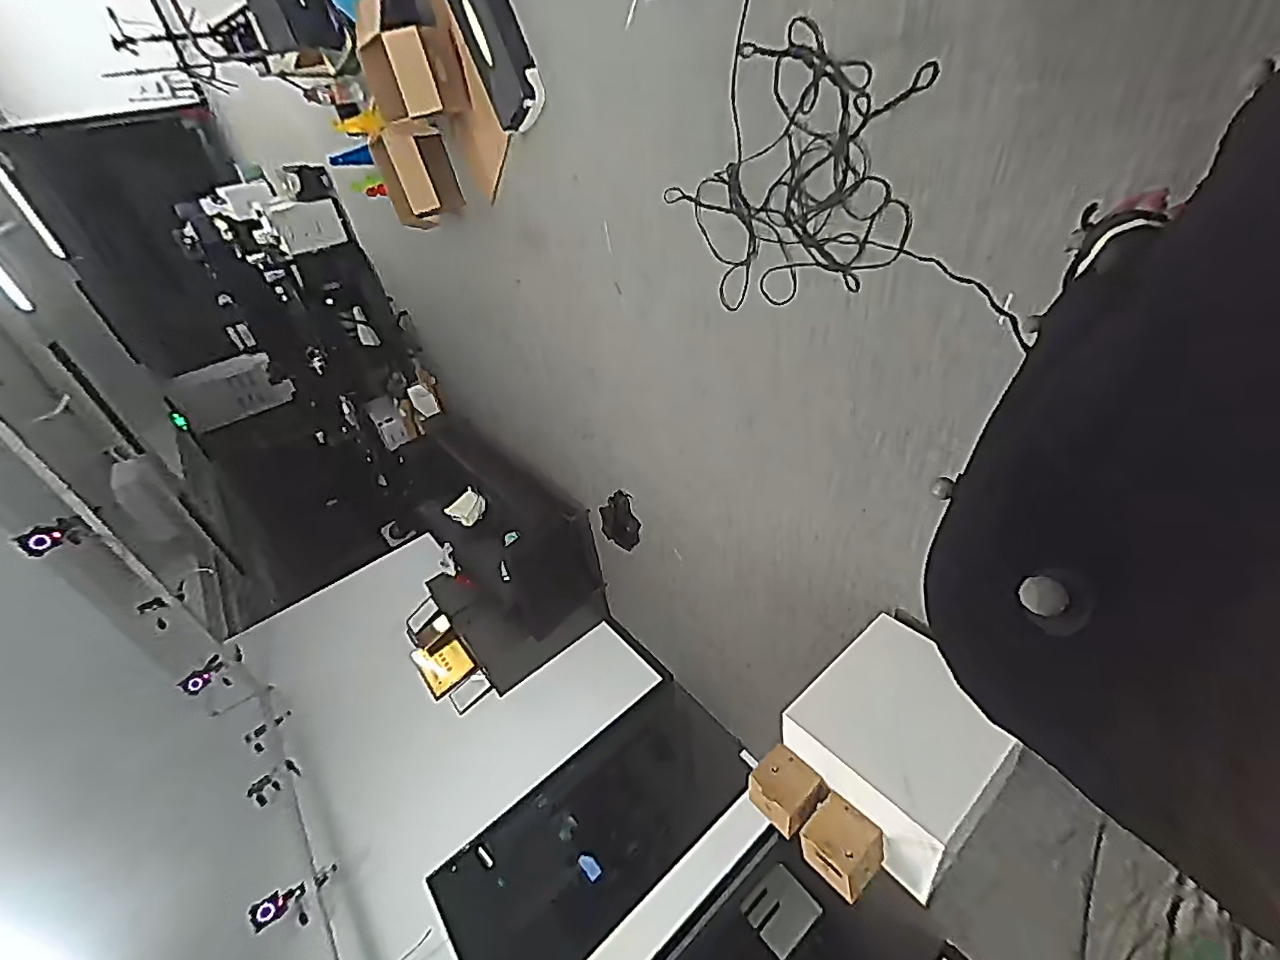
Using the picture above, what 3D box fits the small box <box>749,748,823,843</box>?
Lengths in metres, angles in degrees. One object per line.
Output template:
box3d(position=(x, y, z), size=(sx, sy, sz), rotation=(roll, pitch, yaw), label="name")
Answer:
box3d(position=(0.472, 1.013, 1.749), size=(0.168, 0.176, 0.179), rotation=(33, 144, 43), label="small box")
